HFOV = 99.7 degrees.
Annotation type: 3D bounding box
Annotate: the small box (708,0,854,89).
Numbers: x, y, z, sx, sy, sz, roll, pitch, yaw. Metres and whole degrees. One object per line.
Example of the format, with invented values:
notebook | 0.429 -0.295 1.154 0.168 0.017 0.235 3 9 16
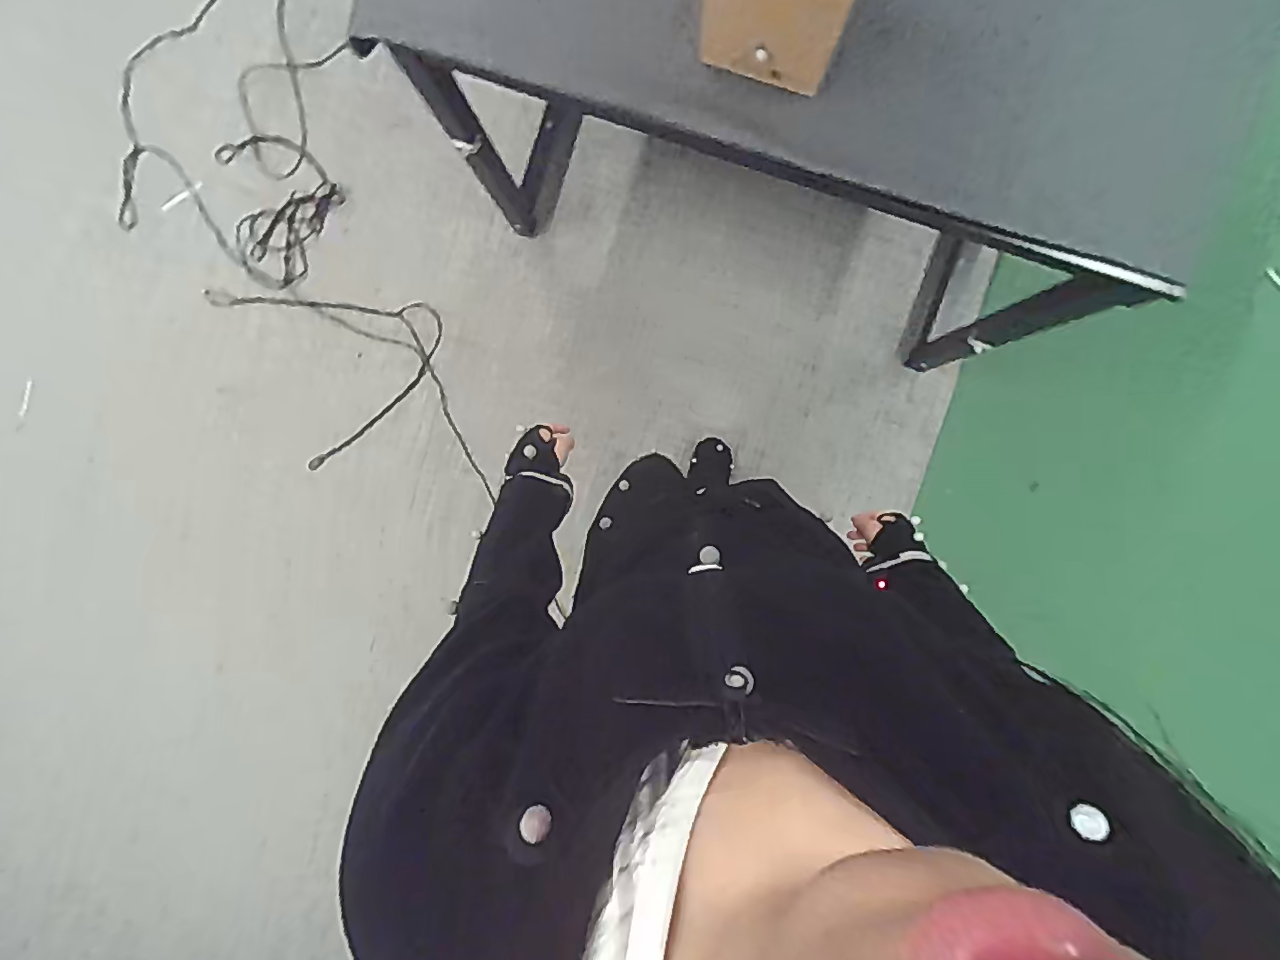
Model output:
small box | 0.185 -0.624 0.640 0.168 0.176 0.179 20 93 3
